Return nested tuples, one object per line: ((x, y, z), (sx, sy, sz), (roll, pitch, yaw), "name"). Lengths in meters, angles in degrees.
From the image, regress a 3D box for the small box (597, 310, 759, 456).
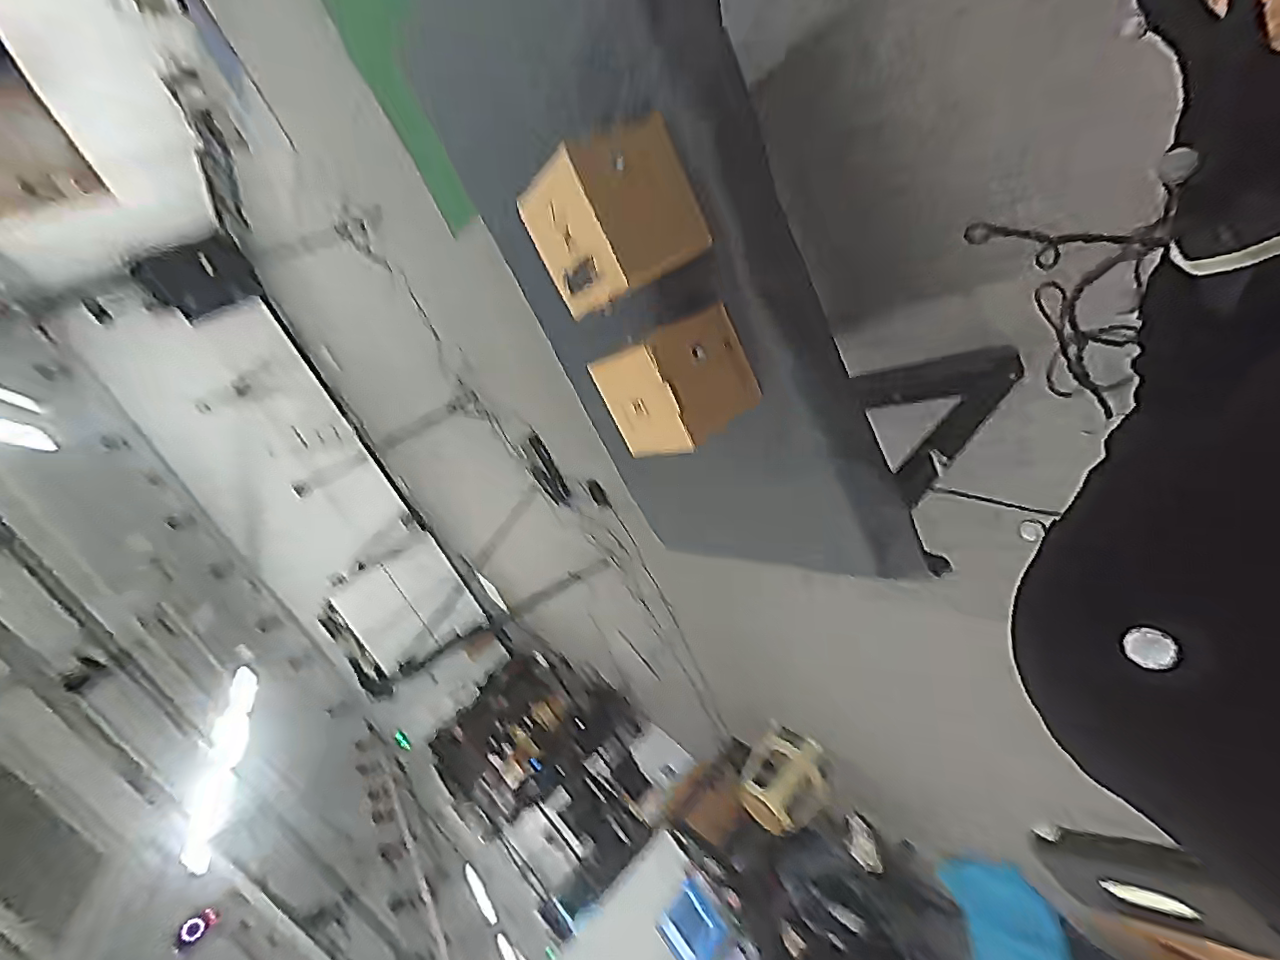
((0.067, -0.152, 0.871), (0.179, 0.176, 0.168), (-1, 120, 59), "small box")
